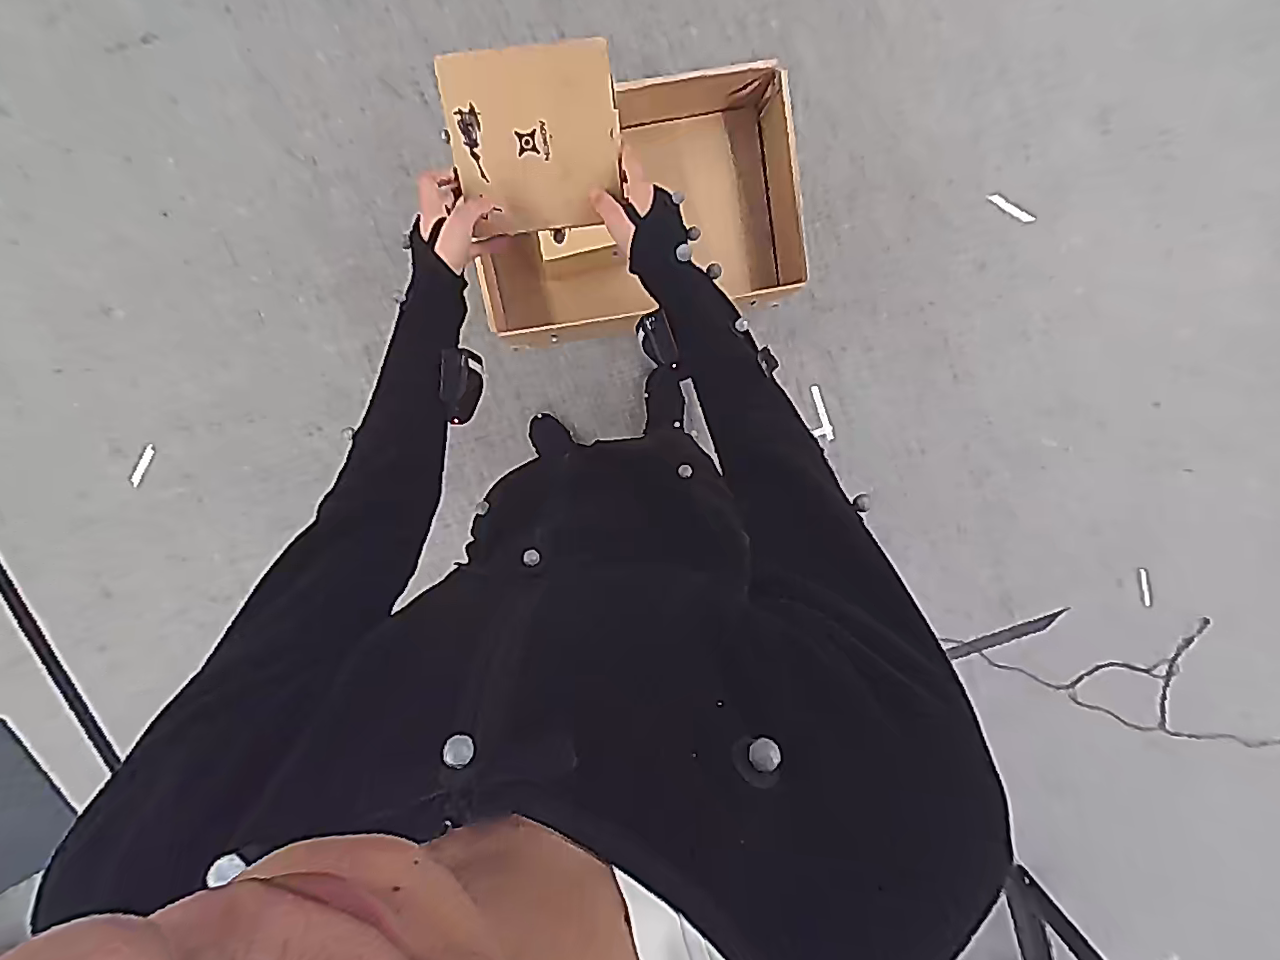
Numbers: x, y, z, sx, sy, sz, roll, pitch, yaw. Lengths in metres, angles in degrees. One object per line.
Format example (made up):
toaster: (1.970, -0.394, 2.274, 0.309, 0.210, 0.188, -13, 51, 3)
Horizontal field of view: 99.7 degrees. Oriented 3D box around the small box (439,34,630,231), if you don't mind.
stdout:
small box: (-0.110, -0.389, 0.630, 0.179, 0.176, 0.168, -6, 115, -1)
